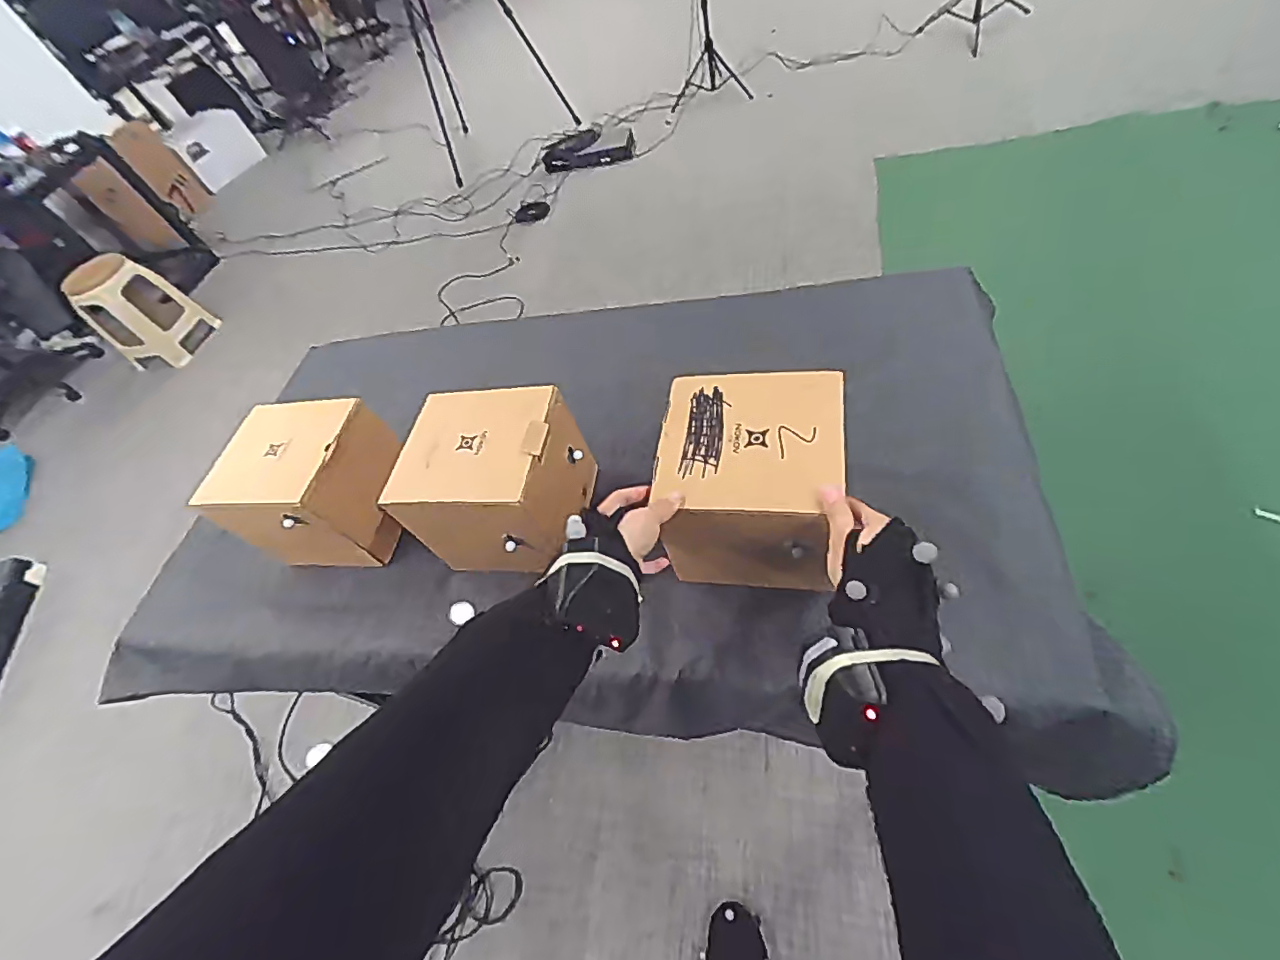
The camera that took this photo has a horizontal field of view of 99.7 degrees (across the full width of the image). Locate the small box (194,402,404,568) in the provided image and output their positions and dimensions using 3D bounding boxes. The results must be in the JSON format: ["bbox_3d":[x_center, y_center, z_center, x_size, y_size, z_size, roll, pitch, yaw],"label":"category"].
[{"bbox_3d":[-0.443,0.013,0.754,0.179,0.176,0.168,-2,54,15],"label":"small box"}]

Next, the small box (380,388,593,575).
[{"bbox_3d":[-0.173,0.008,0.675,0.179,0.176,0.168,-3,53,17],"label":"small box"}]
